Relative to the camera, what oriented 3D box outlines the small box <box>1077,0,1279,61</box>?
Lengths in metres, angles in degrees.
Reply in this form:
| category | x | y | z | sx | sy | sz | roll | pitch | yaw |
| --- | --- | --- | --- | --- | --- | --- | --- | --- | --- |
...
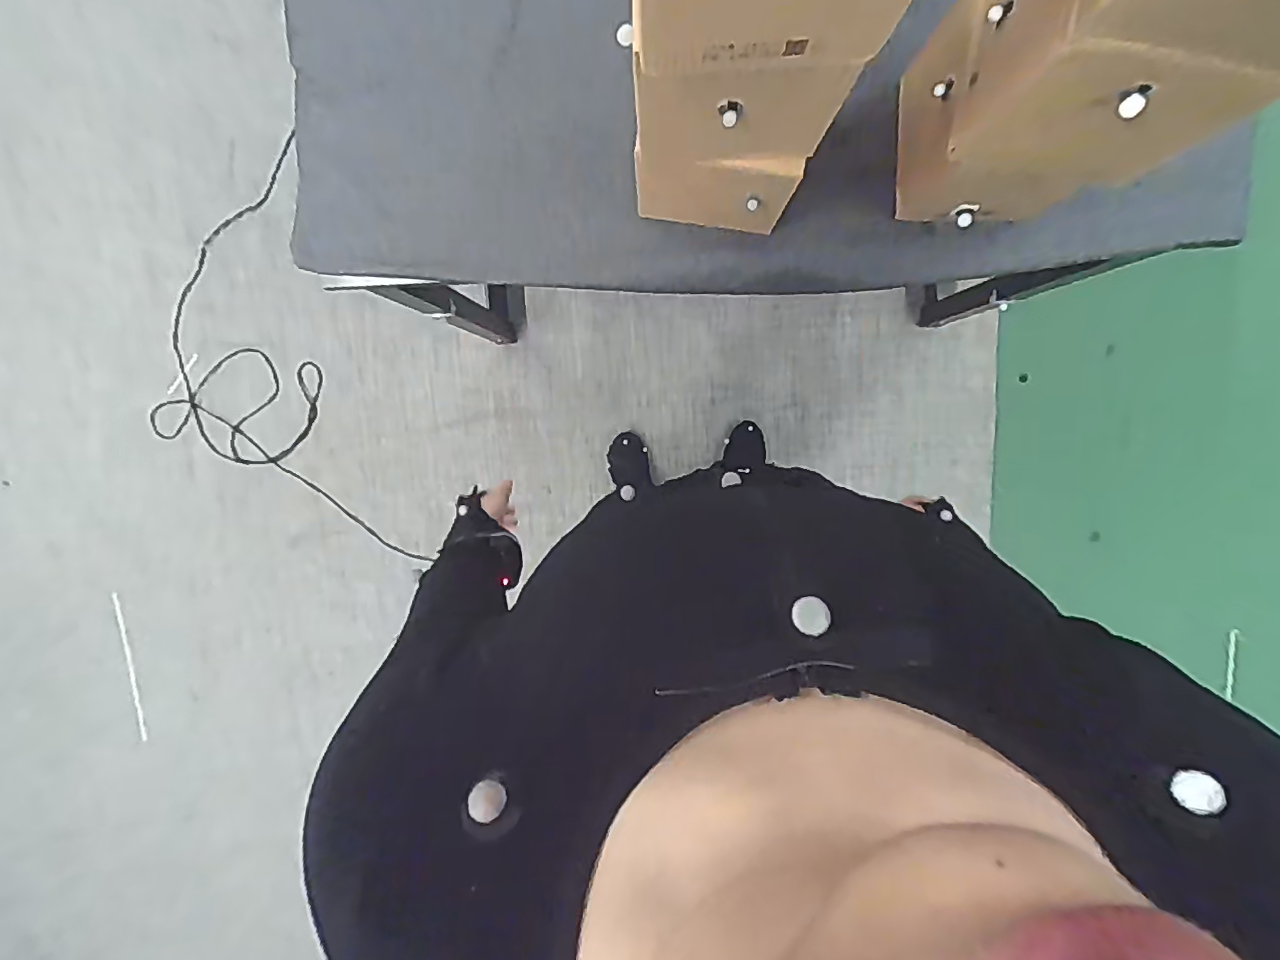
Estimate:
| category | x | y | z | sx | sy | sz | roll | pitch | yaw |
| --- | --- | --- | --- | --- | --- | --- | --- | --- | --- |
| small box | 0.393 | -0.363 | 0.280 | 0.179 | 0.176 | 0.168 | 12 | 96 | 3 |

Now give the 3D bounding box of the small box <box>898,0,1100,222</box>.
| category | x | y | z | sx | sy | sz | roll | pitch | yaw |
| --- | --- | --- | --- | --- | --- | --- | --- | --- | --- |
| small box | 0.406 | -0.411 | 0.603 | 0.168 | 0.176 | 0.179 | 0 | 97 | 4 |

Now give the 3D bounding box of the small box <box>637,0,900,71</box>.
| category | x | y | z | sx | sy | sz | roll | pitch | yaw |
| --- | --- | --- | --- | --- | --- | --- | --- | --- | --- |
| small box | 0.075 | -0.369 | 0.292 | 0.168 | 0.176 | 0.179 | -1 | 96 | 3 |

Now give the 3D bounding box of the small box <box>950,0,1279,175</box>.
| category | x | y | z | sx | sy | sz | roll | pitch | yaw |
| --- | --- | --- | --- | --- | --- | --- | --- | --- | --- |
| small box | 0.398 | -0.378 | 0.444 | 0.179 | 0.176 | 0.168 | 10 | 96 | 3 |

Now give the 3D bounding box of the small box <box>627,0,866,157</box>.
| category | x | y | z | sx | sy | sz | roll | pitch | yaw |
| --- | --- | --- | --- | --- | --- | --- | --- | --- | --- |
| small box | 0.080 | -0.396 | 0.454 | 0.179 | 0.176 | 0.168 | 0 | 96 | 3 |
